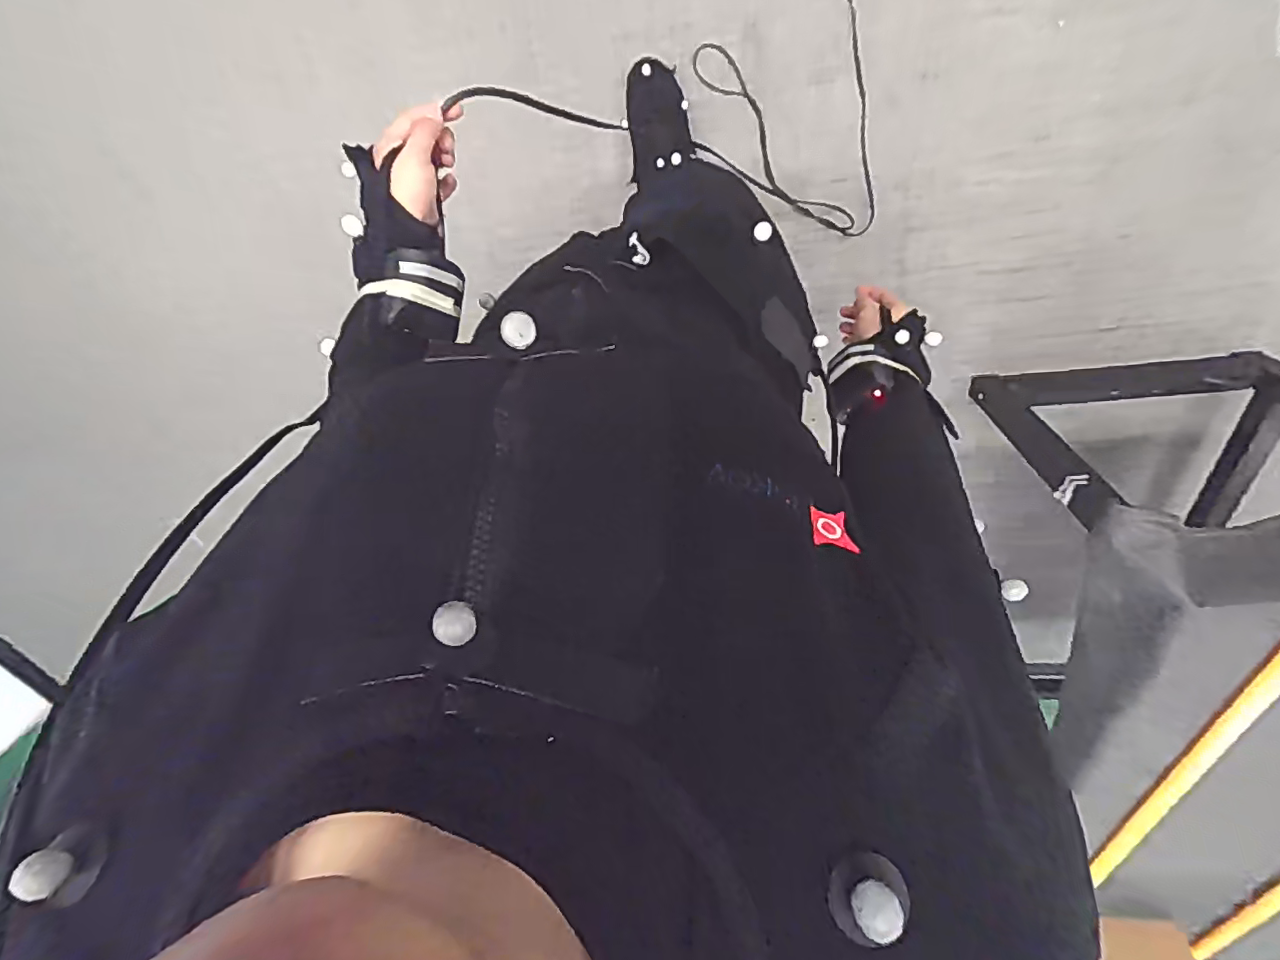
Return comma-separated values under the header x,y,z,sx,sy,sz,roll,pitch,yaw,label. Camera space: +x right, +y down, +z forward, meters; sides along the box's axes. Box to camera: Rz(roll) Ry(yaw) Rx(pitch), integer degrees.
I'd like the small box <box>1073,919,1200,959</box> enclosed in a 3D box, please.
x,y,z,sx,sy,sz,roll,pitch,yaw,label
1.086,1.074,1.160,0.179,0.176,0.168,-3,124,9,small box
